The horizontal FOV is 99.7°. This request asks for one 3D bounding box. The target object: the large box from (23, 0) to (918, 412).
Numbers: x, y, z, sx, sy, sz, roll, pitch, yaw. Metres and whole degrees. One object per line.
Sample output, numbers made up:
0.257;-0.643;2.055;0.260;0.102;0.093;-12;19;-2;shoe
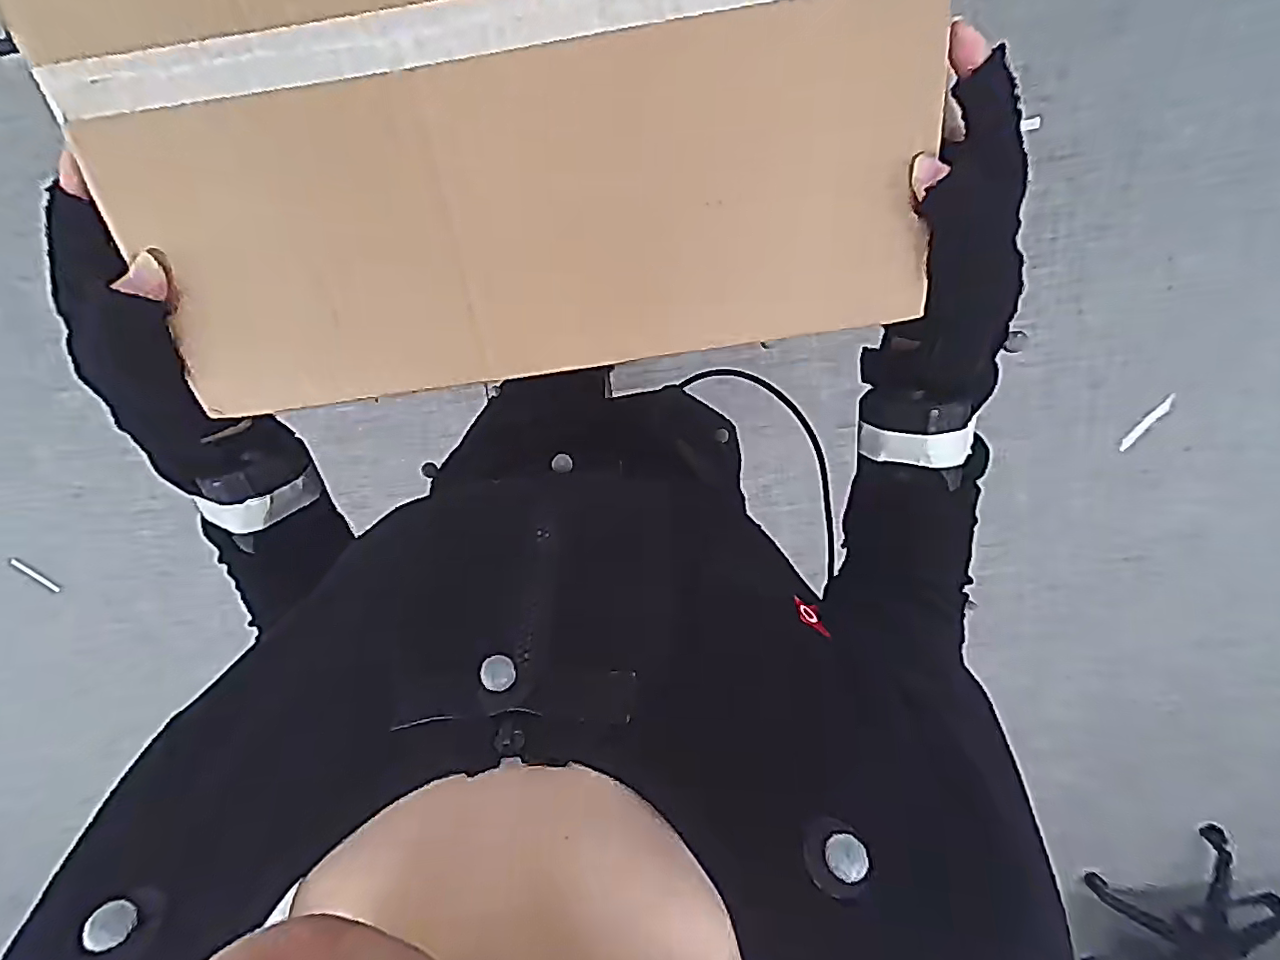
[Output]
-0.072;-0.269;0.383;0.408;0.320;0.320;-8;114;2;large box
